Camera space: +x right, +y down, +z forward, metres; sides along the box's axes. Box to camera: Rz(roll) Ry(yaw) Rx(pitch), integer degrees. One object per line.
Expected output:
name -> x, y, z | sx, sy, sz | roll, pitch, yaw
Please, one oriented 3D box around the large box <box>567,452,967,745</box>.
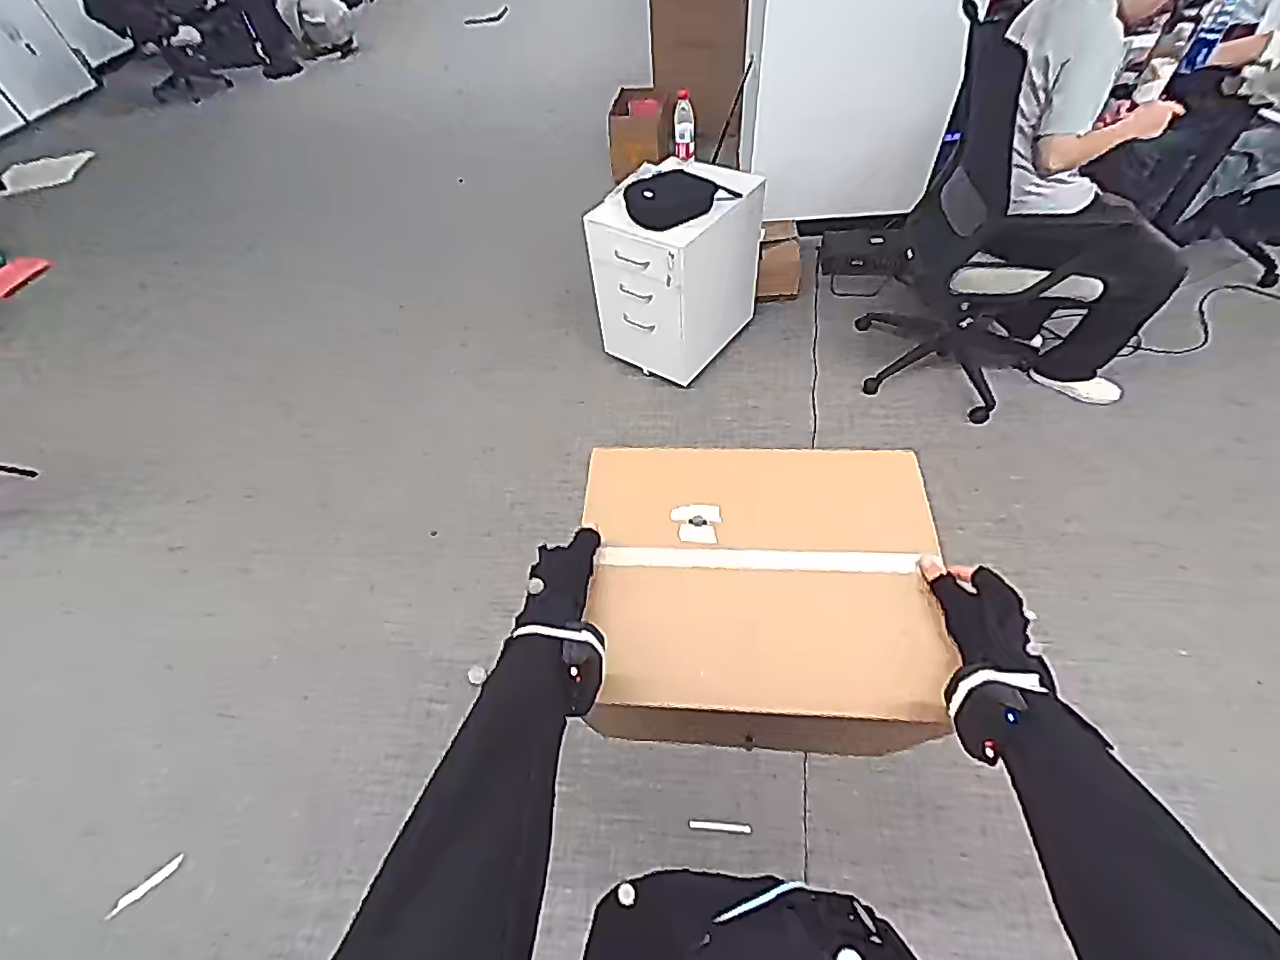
large box -> 0.145, 0.173, 0.744 | 0.408, 0.320, 0.320 | 1, 57, 7
